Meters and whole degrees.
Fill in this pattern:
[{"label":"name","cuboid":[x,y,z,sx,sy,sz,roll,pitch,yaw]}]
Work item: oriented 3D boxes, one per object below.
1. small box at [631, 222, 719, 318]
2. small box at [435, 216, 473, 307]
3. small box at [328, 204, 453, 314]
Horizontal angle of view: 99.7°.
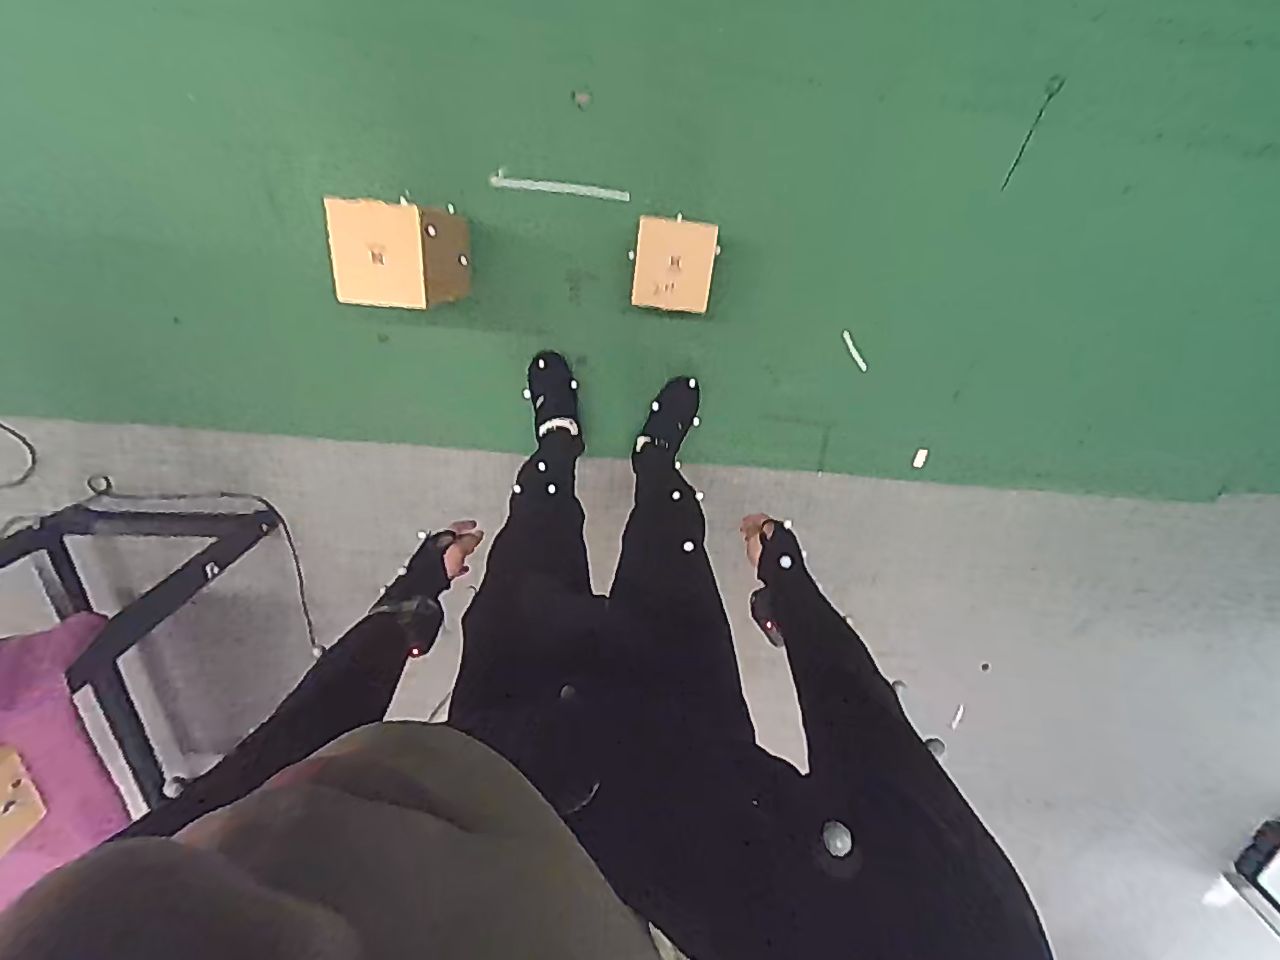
[{"label":"small box","cuboid":[0.071,-0.474,1.220,0.168,0.176,0.179,6,113,-4]},{"label":"small box","cuboid":[-0.477,-0.490,1.203,0.168,0.176,0.179,4,113,-2]},{"label":"small box","cuboid":[-0.472,-0.427,1.054,0.168,0.176,0.179,4,112,-2]}]
